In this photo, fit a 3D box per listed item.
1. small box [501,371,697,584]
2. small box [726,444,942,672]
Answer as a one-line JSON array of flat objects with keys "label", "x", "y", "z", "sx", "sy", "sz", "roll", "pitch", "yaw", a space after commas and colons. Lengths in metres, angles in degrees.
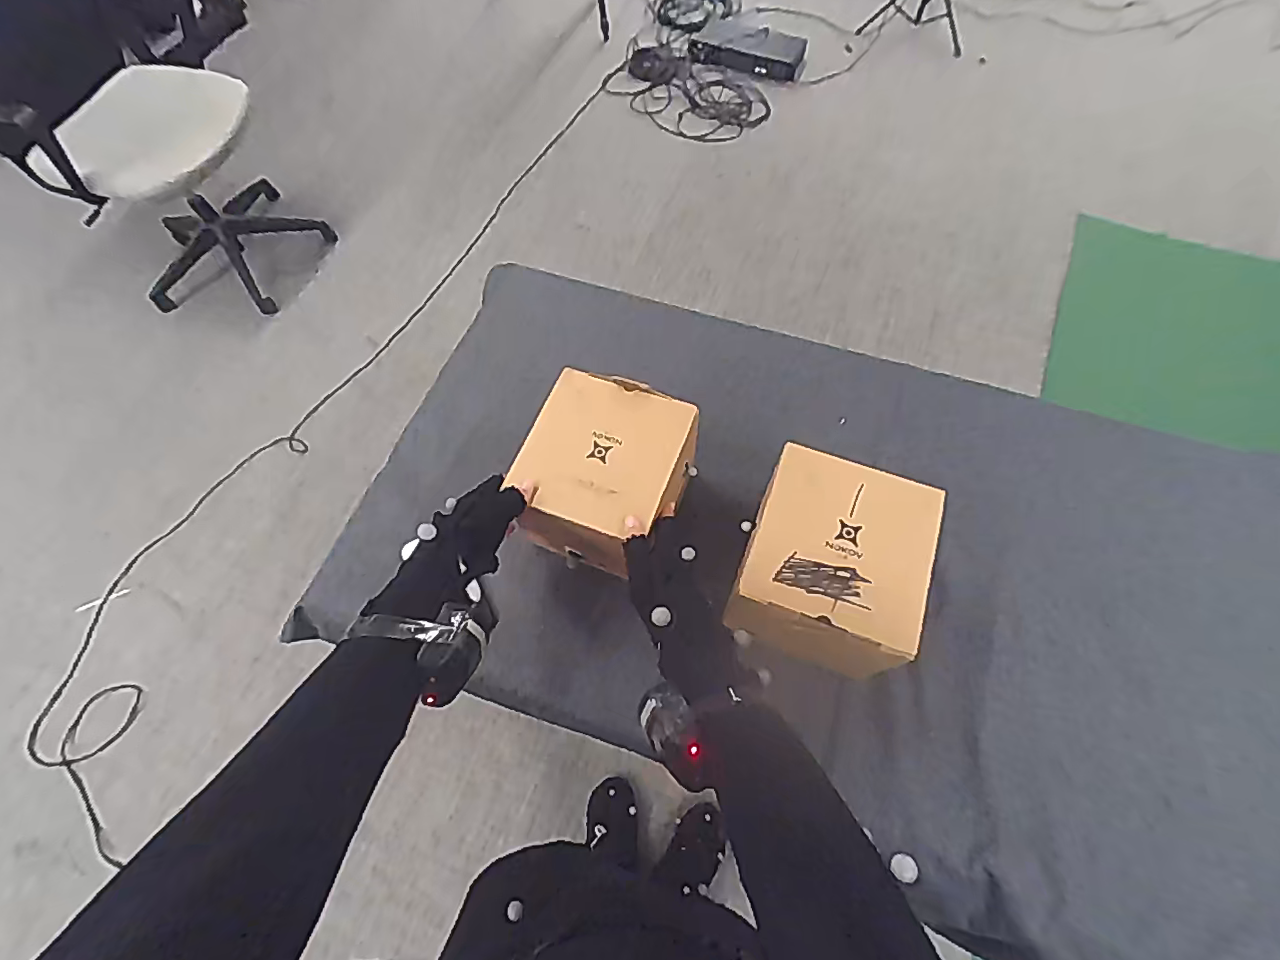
[{"label": "small box", "x": -0.038, "y": 0.003, "z": 0.653, "sx": 0.168, "sy": 0.176, "sz": 0.179, "roll": 18, "pitch": 68, "yaw": 12}, {"label": "small box", "x": 0.200, "y": 0.094, "z": 0.597, "sx": 0.168, "sy": 0.176, "sz": 0.179, "roll": 20, "pitch": 66, "yaw": 11}]
